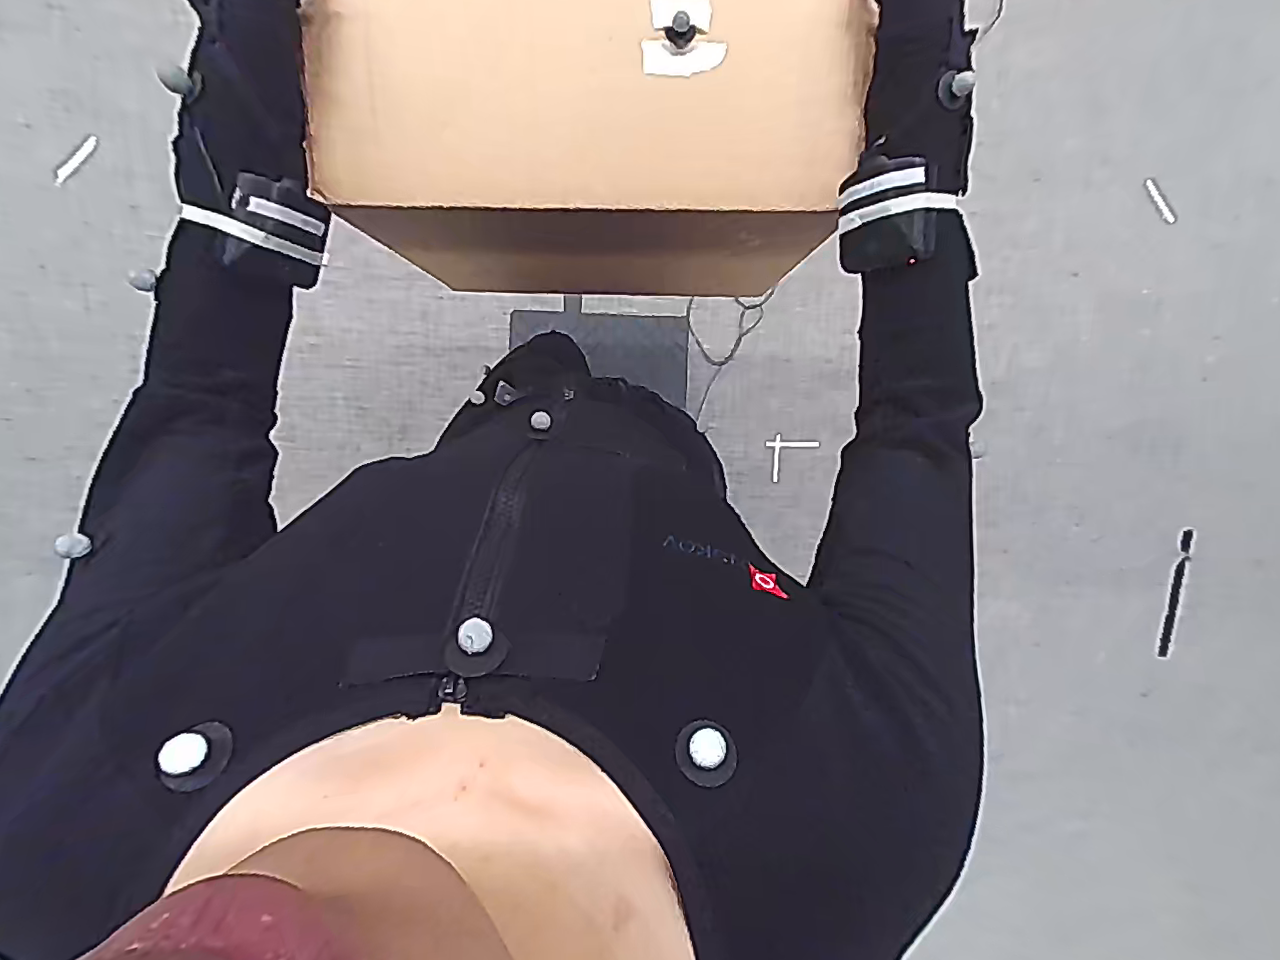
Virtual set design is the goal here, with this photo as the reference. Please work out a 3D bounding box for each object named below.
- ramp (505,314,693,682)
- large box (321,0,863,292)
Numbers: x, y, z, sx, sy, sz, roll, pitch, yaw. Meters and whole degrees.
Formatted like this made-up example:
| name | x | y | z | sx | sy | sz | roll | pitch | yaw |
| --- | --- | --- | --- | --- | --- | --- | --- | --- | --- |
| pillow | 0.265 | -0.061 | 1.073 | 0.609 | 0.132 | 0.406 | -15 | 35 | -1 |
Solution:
| name | x | y | z | sx | sy | sz | roll | pitch | yaw |
| --- | --- | --- | --- | --- | --- | --- | --- | --- | --- |
| ramp | -0.109 | 0.040 | 1.479 | 0.509 | 0.206 | 0.991 | 0 | 97 | 0 |
| large box | -0.037 | -0.382 | 0.541 | 0.408 | 0.320 | 0.320 | 0 | 98 | -1 |
